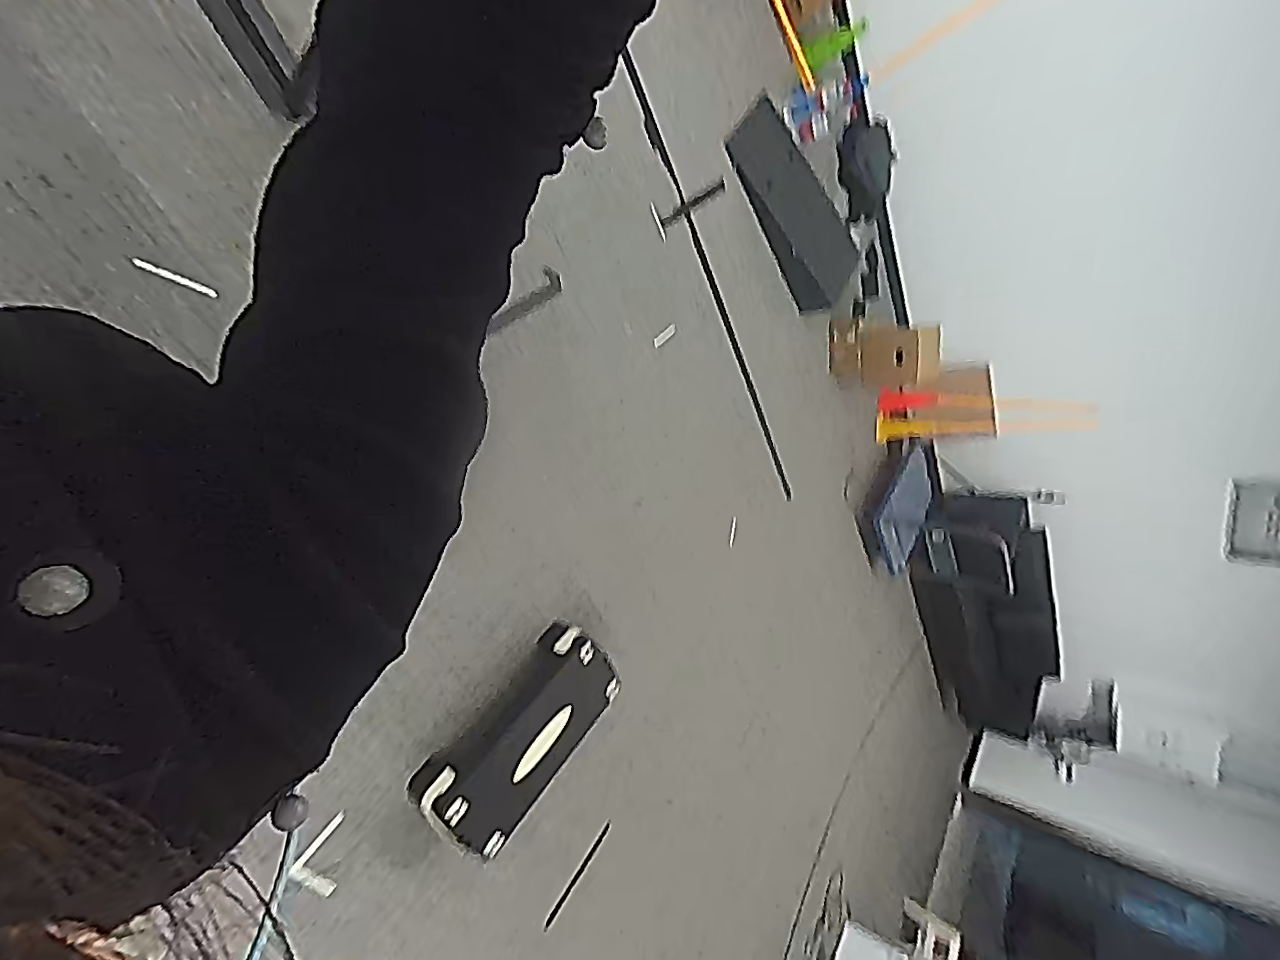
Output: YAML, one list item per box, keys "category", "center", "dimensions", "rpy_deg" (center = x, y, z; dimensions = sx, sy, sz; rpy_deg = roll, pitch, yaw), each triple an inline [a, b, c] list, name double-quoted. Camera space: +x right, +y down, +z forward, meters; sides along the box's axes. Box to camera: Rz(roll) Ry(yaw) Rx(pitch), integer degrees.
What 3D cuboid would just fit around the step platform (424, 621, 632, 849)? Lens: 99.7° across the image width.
- category: "step platform"
  center: [-0.322, 0.786, 1.741]
  dimensions: [0.684, 0.204, 0.286]
  rpy_deg: [-42, 120, -36]
